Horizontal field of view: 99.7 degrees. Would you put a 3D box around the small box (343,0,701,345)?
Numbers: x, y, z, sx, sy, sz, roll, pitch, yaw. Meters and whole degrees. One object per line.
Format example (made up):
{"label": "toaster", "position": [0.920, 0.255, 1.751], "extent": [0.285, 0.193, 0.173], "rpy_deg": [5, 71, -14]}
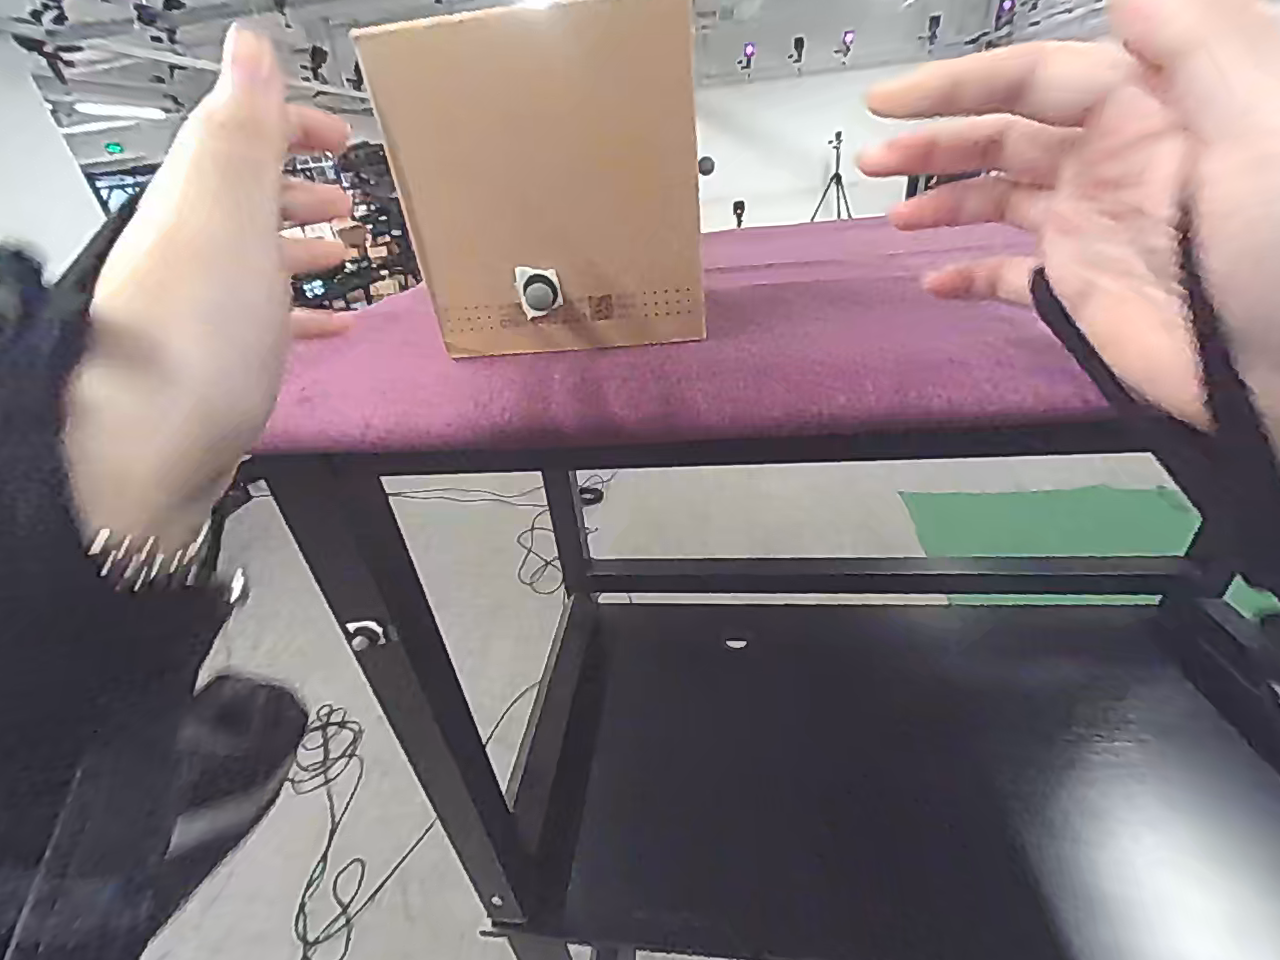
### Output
{"label": "small box", "position": [-0.049, -0.198, 0.358], "extent": [0.168, 0.176, 0.179], "rpy_deg": [-5, 31, 6]}
